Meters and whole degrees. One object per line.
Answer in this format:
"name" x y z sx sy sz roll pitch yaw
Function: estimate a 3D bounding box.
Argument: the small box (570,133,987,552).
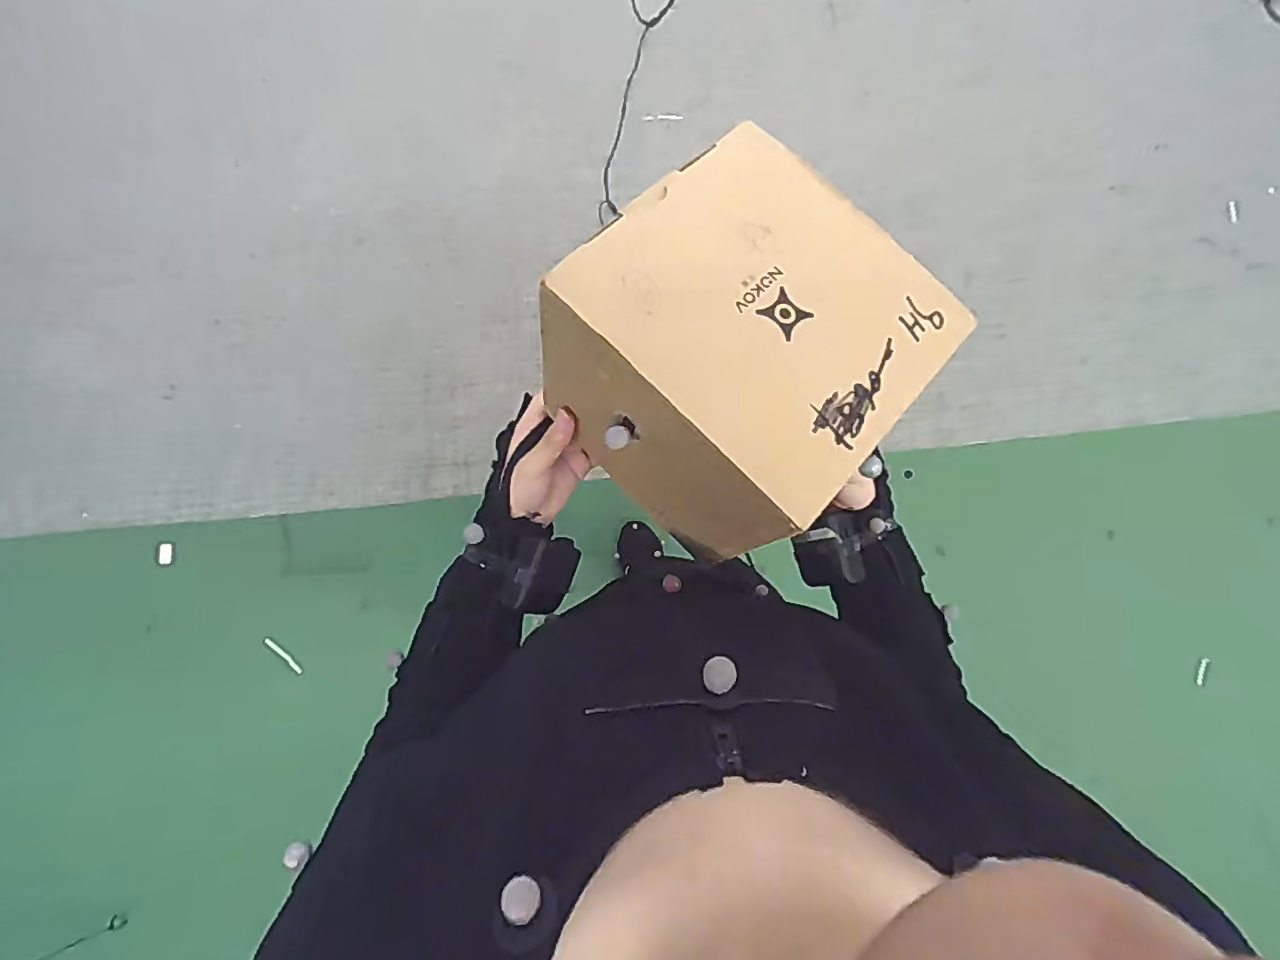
"small box" 0.067 -0.071 0.363 0.179 0.176 0.168 44 74 5
